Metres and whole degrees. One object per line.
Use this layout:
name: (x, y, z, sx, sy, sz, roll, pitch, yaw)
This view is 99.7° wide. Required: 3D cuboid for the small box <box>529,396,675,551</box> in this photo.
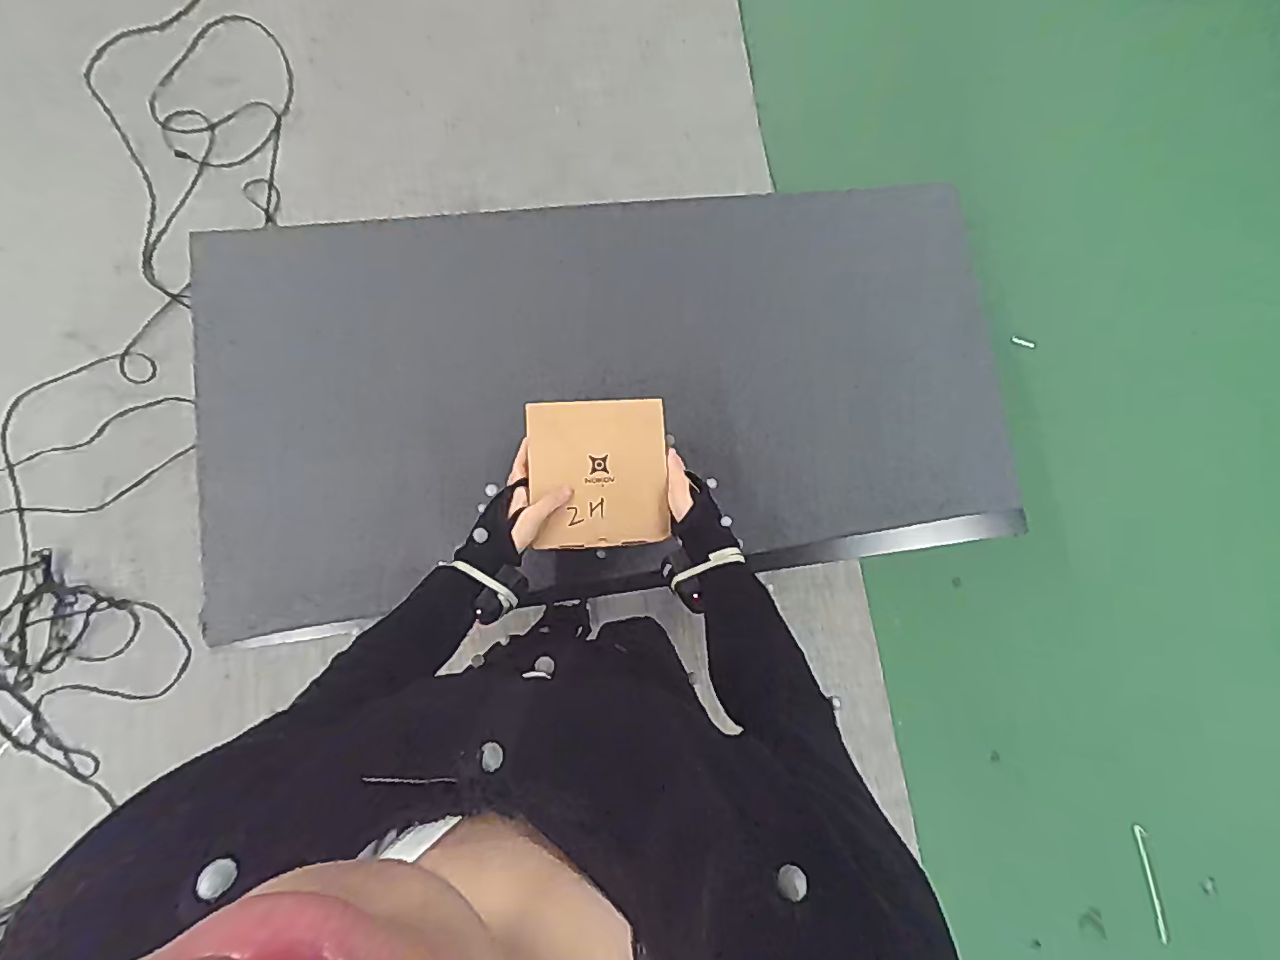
small box: (-0.052, 0.000, 0.702, 0.168, 0.176, 0.179, -3, 83, -5)
